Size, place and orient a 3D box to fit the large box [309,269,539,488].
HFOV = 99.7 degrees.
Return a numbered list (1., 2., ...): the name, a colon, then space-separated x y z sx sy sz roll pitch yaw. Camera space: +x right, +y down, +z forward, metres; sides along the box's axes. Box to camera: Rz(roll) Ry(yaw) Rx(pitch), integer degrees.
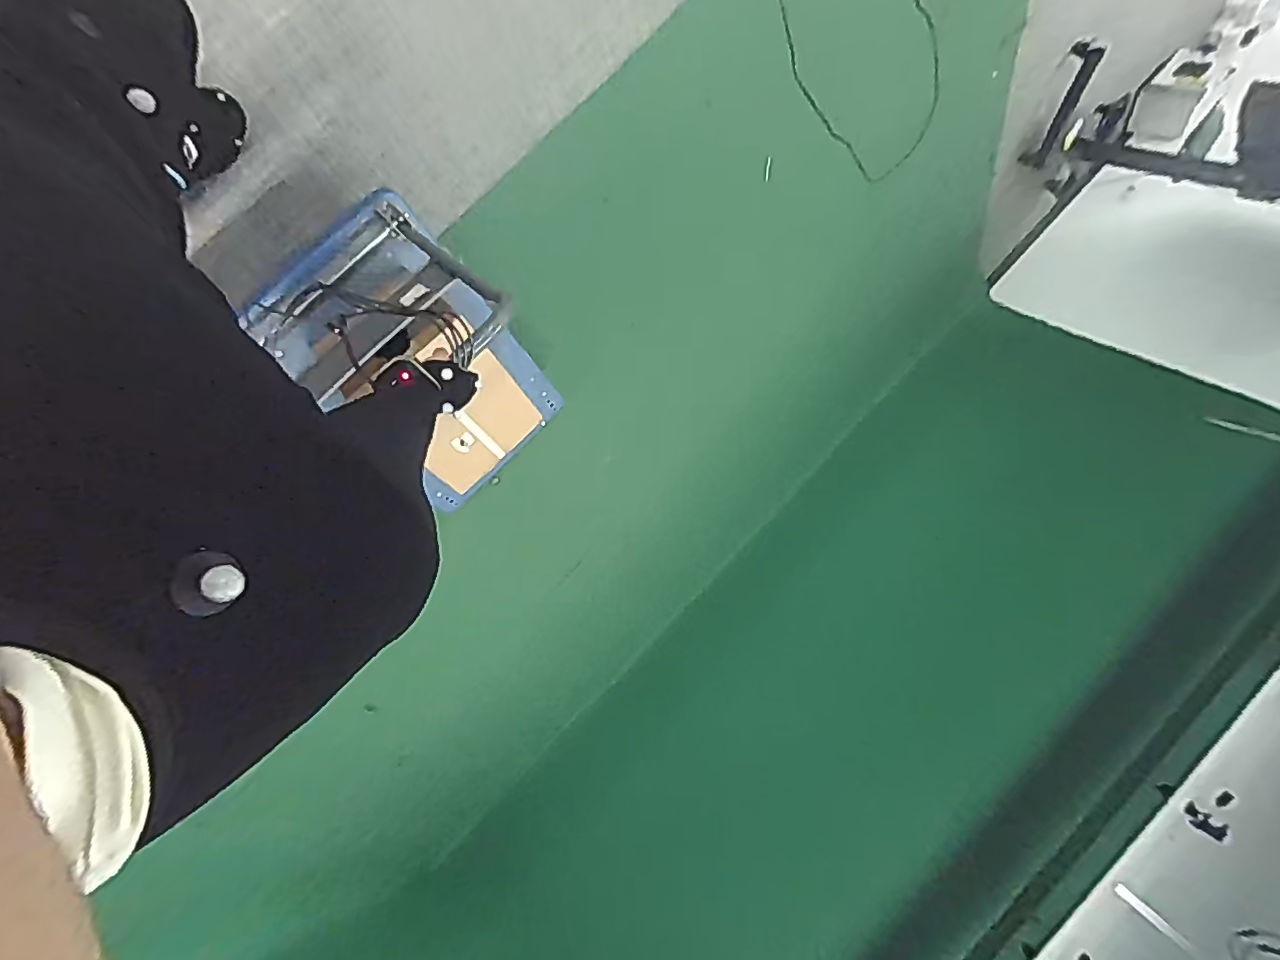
1. large box: -0.543 -0.253 1.401 0.320 0.320 0.408 -44 147 -7
